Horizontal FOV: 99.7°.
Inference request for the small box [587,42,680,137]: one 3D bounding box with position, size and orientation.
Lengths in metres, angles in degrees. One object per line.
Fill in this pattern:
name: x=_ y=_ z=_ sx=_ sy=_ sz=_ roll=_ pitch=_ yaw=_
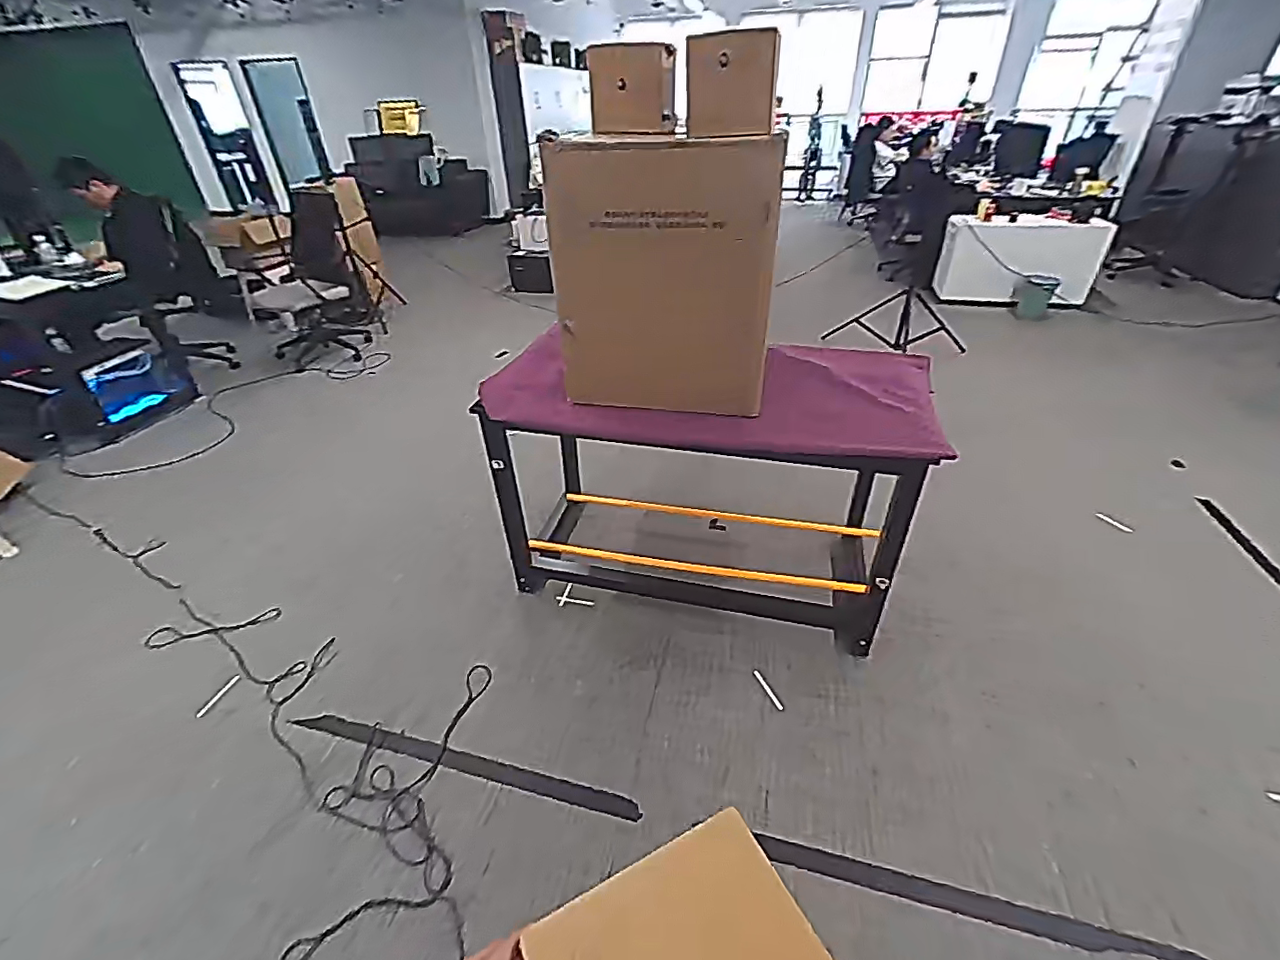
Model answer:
small box: x=-0.009 y=-0.924 z=1.287 sx=0.179 sy=0.176 sz=0.168 roll=8 pitch=35 yaw=16
